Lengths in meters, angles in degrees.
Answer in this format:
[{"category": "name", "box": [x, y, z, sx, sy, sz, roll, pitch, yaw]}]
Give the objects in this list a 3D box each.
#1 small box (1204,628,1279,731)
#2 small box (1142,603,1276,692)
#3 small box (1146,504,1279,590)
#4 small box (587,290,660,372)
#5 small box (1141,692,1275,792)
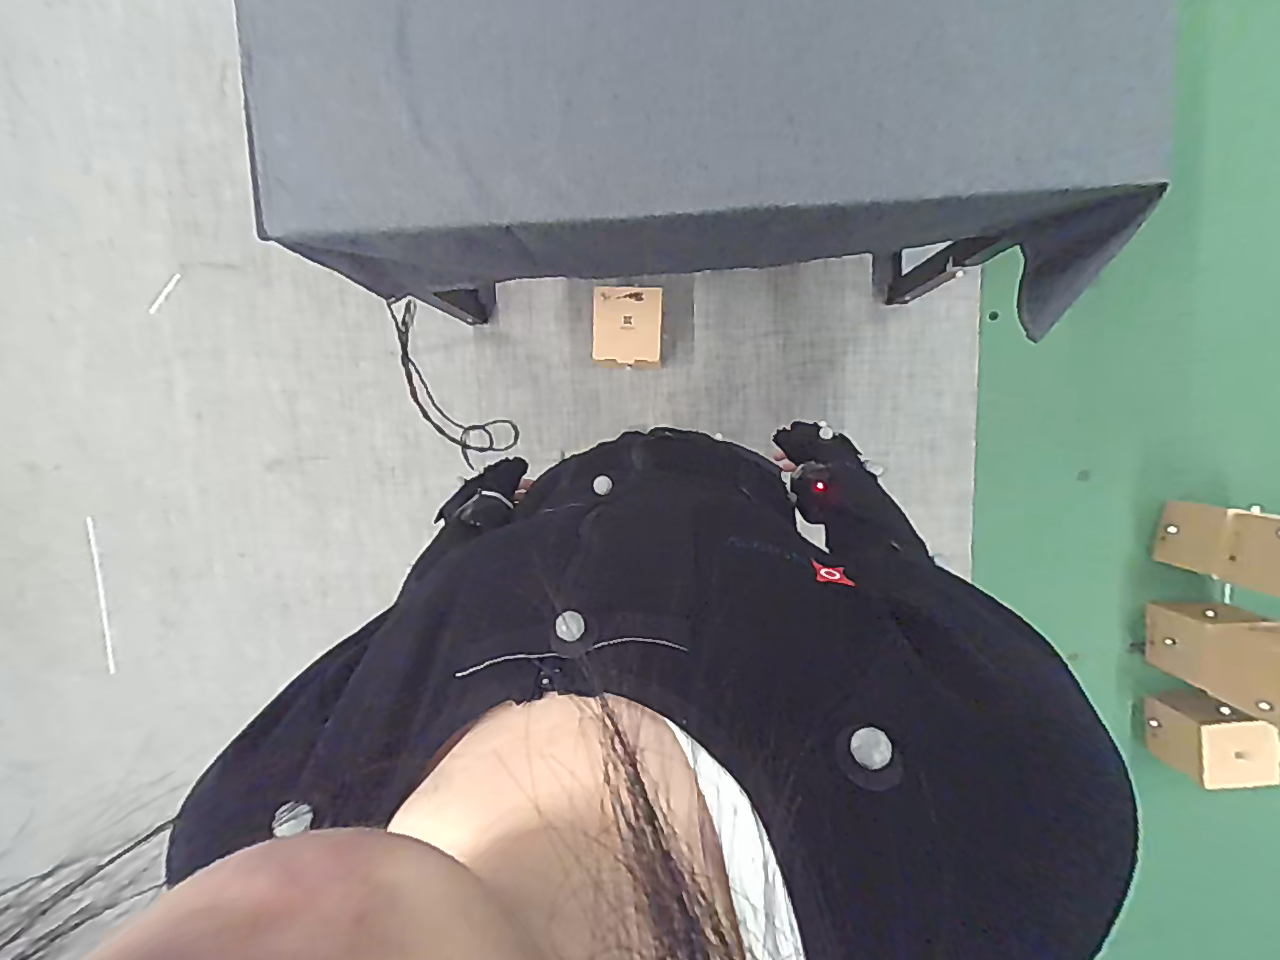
[{"category": "small box", "box": [1.424, 0.438, 1.204, 0.168, 0.176, 0.179, -1, 95, 3]}, {"category": "small box", "box": [1.426, 0.417, 1.366, 0.179, 0.176, 0.168, -4, 95, 2]}, {"category": "small box", "box": [1.434, 0.159, 1.343, 0.179, 0.176, 0.168, 9, 94, 3]}, {"category": "small box", "box": [-0.037, -0.367, 1.361, 0.168, 0.176, 0.179, 2, 95, 3]}, {"category": "small box", "box": [1.448, 0.663, 1.386, 0.179, 0.176, 0.168, -7, 94, 3]}]
